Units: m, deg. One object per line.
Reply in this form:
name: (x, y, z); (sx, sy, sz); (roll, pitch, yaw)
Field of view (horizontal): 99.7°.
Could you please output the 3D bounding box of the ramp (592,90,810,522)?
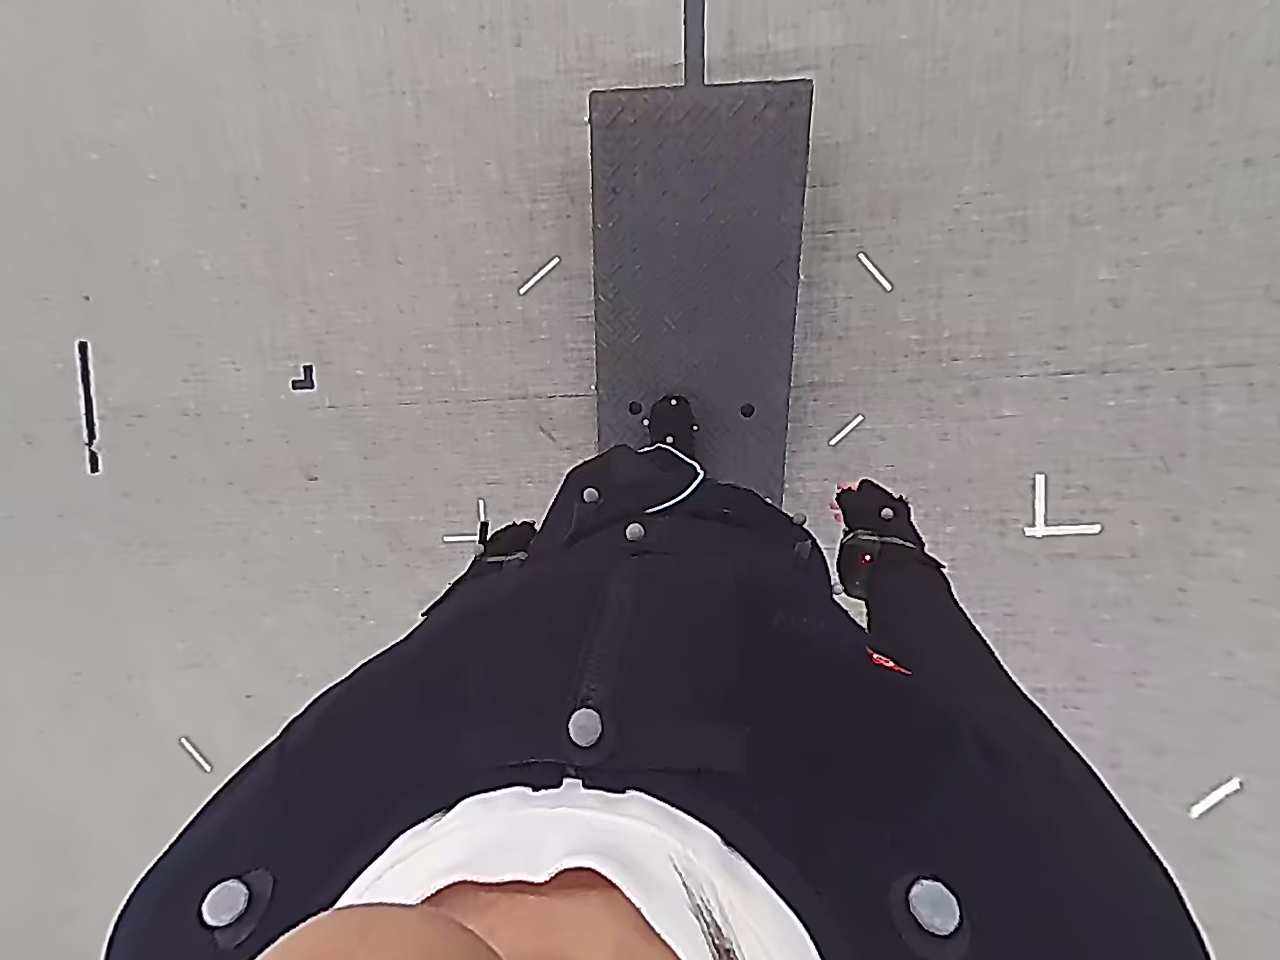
ramp: (0.148, -0.369, 1.338); (0.509, 0.206, 0.991); (-1, 95, 7)
